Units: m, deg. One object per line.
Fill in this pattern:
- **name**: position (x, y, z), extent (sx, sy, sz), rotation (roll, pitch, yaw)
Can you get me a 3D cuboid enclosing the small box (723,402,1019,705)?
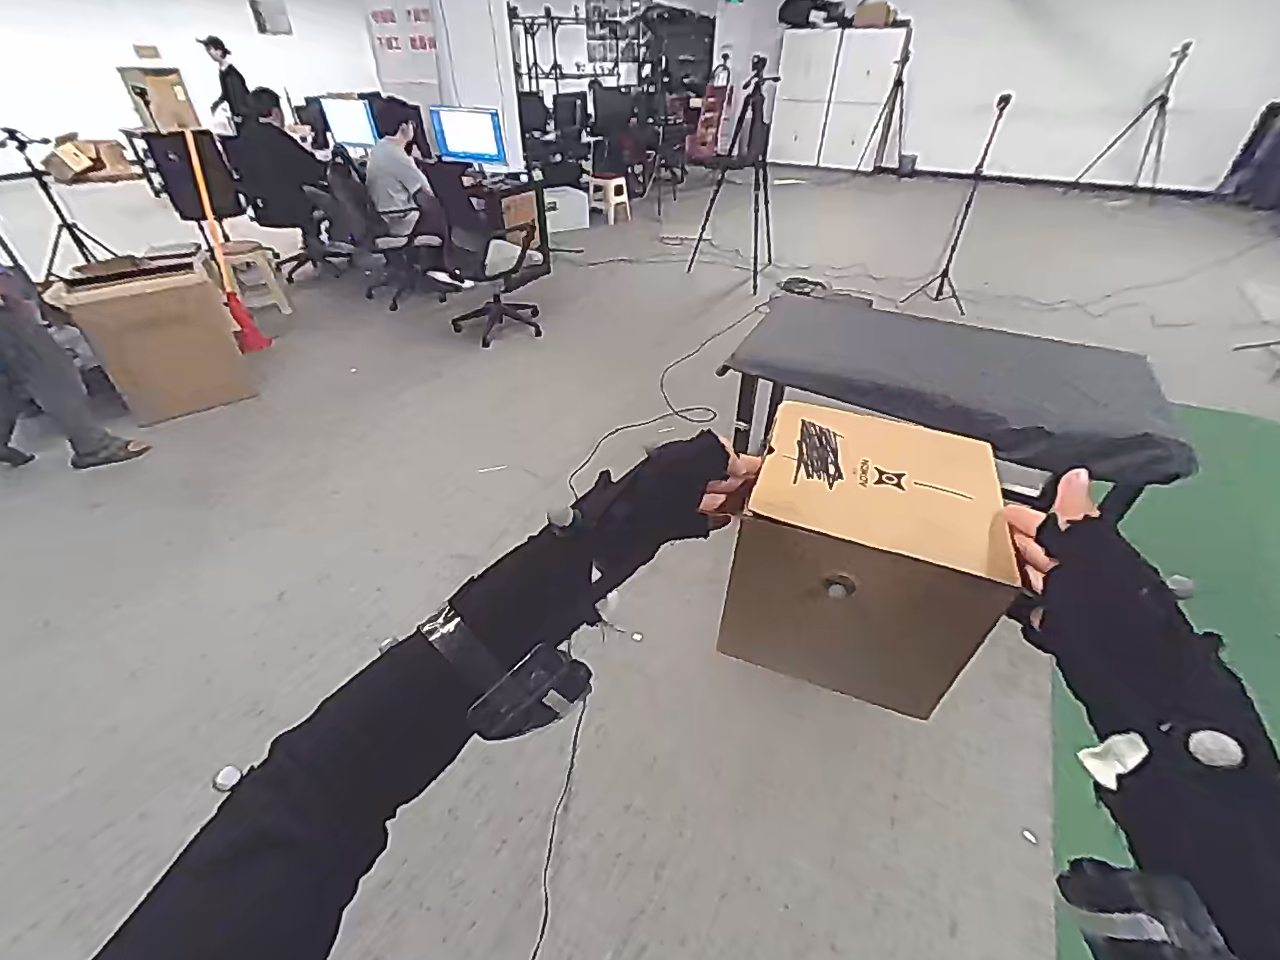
- **small box**: position (0.178, 0.059, 0.461), extent (0.179, 0.176, 0.168), rotation (15, 41, 14)
